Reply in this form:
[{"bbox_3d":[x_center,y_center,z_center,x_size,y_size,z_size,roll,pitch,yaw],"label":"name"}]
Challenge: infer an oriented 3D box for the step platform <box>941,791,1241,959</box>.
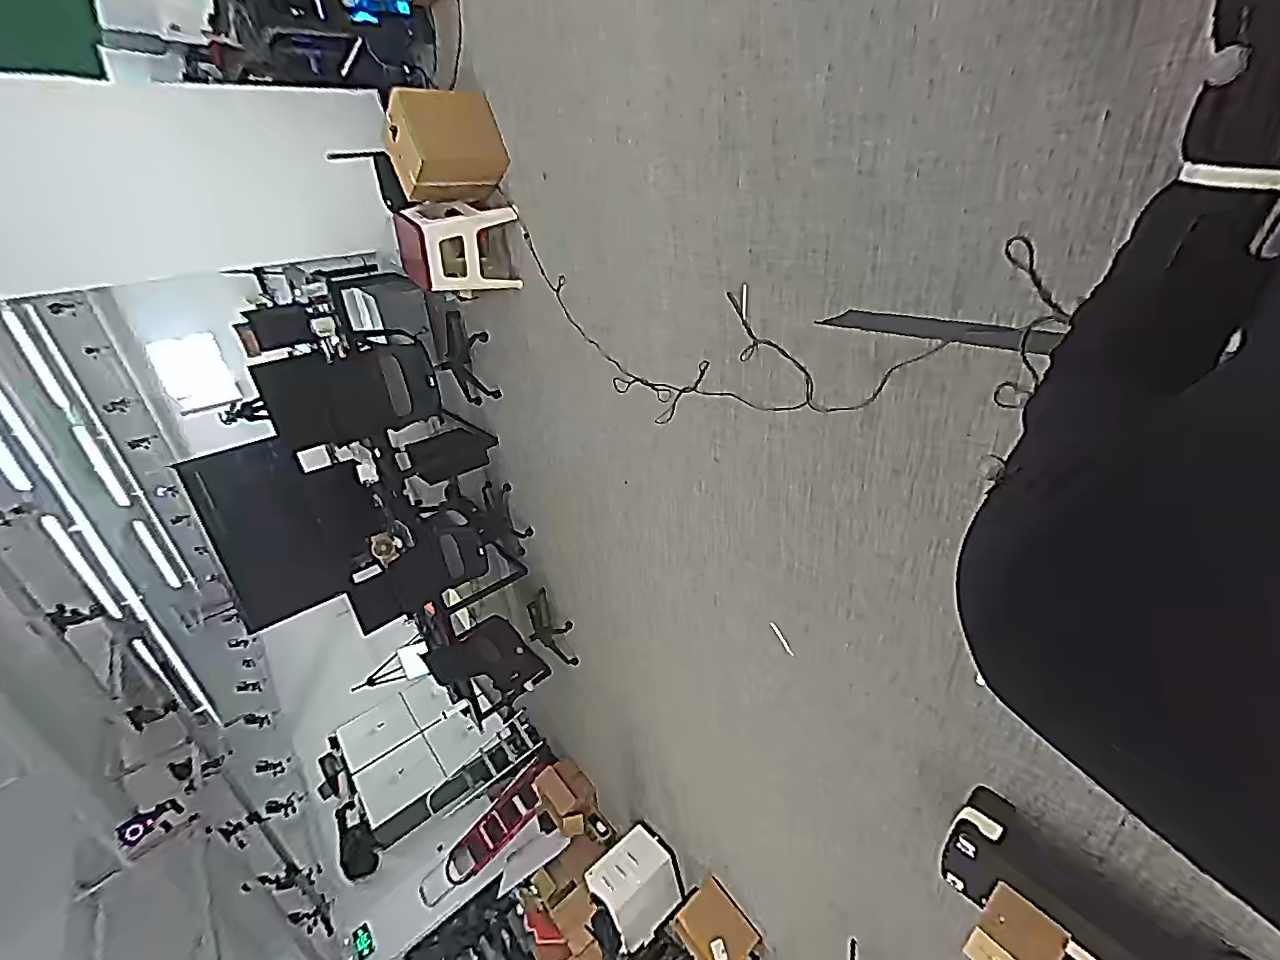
[{"bbox_3d":[1.230,1.241,1.516,0.684,0.204,0.286,25,131,44],"label":"step platform"}]
